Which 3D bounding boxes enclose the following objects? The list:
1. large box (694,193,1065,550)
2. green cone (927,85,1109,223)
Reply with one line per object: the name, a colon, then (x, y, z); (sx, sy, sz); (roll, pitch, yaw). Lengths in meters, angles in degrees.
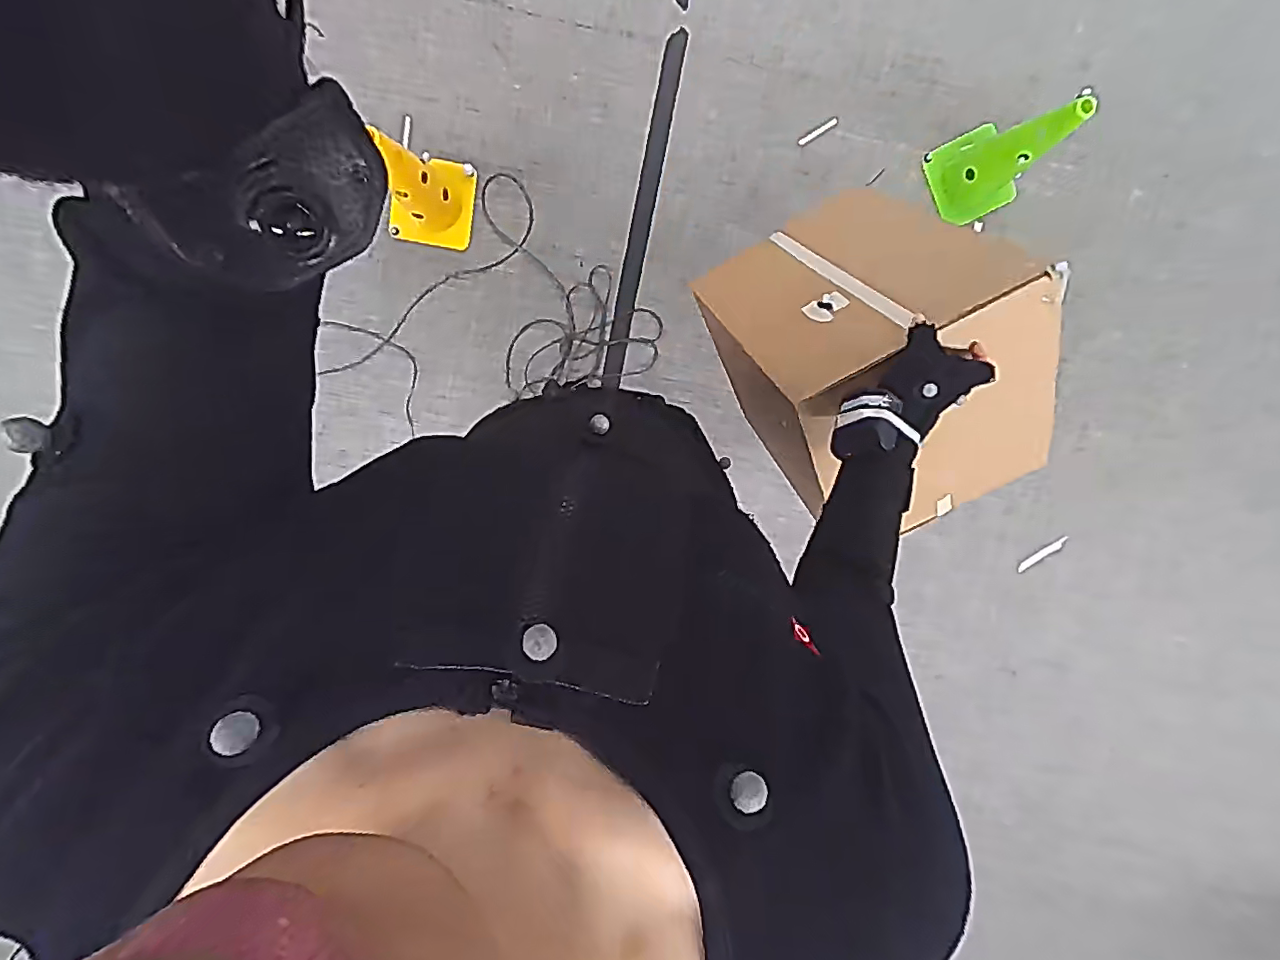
large box: (0.325, -0.176, 0.828); (0.320, 0.408, 0.320); (-27, 131, 6)
green cone: (0.850, -0.748, 1.193); (0.202, 0.368, 0.200); (-27, 101, 1)
